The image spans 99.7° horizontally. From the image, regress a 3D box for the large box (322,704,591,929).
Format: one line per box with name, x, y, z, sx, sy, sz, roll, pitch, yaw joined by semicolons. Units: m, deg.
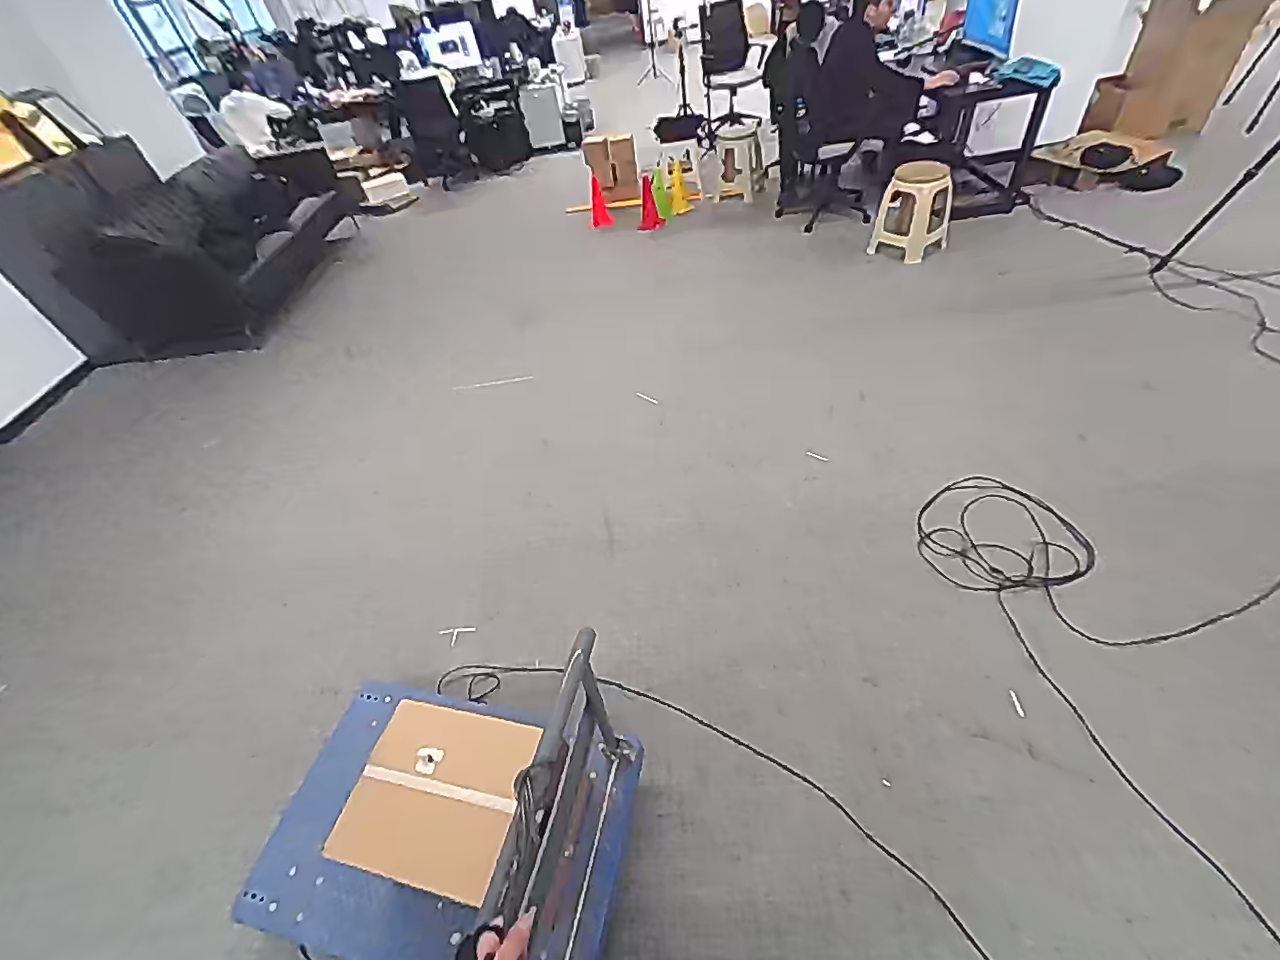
large box;-0.362;0.731;1.185;0.408;0.320;0.320;4;46;16
